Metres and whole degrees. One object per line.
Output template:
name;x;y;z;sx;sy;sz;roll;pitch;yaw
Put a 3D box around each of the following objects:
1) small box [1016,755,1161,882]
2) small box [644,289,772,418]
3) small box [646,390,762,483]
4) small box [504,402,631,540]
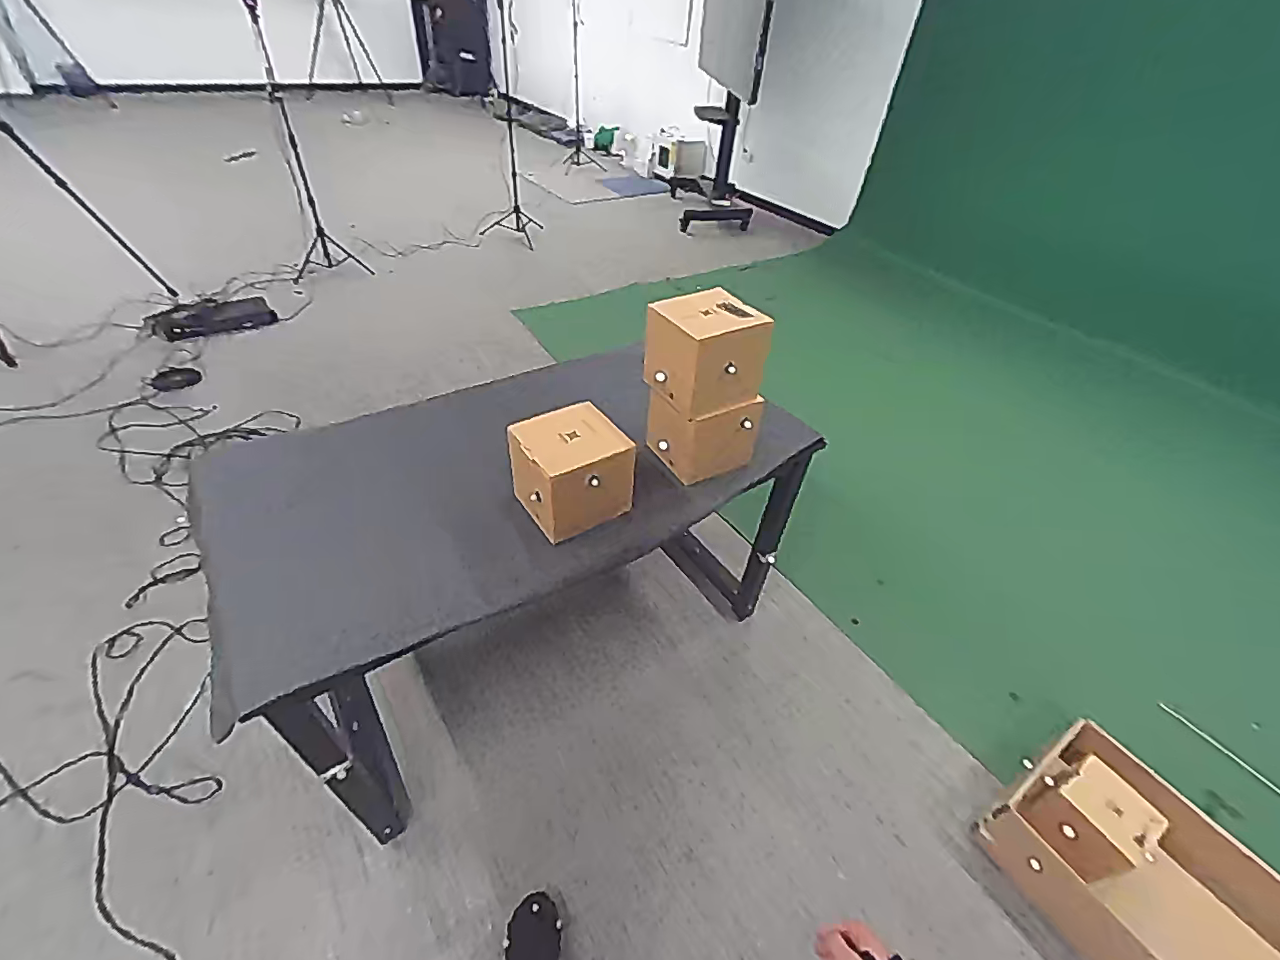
small box;1.048;0.803;1.280;0.168;0.176;0.179;-21;49;-26
small box;0.121;-0.246;1.044;0.179;0.176;0.168;-21;47;-25
small box;0.127;-0.121;1.151;0.179;0.176;0.168;-19;46;-24
small box;-0.135;-0.016;1.010;0.179;0.176;0.168;-22;49;-29
